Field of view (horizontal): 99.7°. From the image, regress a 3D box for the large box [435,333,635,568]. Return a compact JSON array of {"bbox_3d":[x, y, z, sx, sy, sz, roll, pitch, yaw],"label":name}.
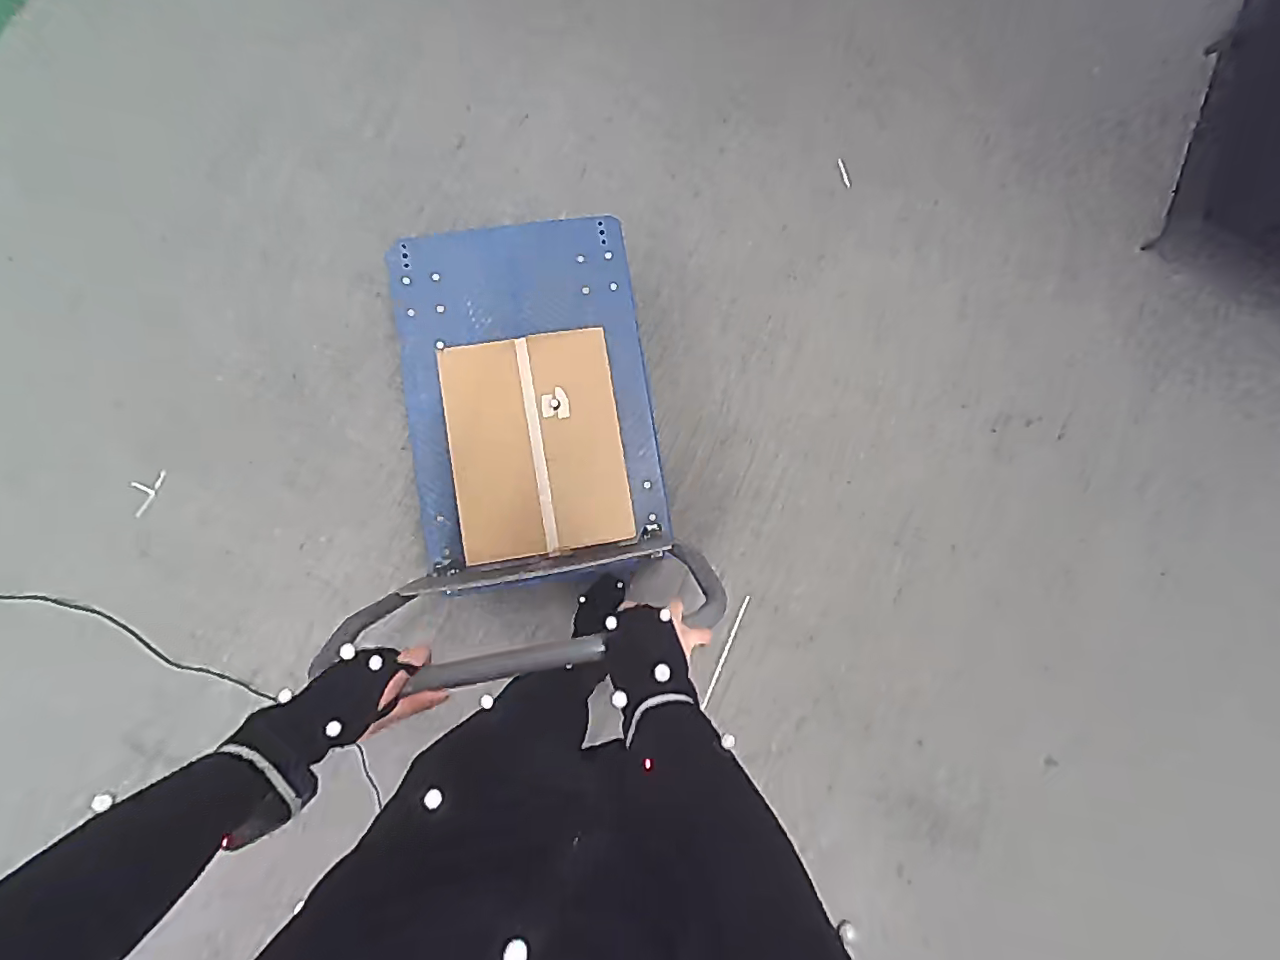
[{"bbox_3d":[-0.206,-0.047,1.151,0.320,0.320,0.408,-10,86,-6],"label":"large box"}]
